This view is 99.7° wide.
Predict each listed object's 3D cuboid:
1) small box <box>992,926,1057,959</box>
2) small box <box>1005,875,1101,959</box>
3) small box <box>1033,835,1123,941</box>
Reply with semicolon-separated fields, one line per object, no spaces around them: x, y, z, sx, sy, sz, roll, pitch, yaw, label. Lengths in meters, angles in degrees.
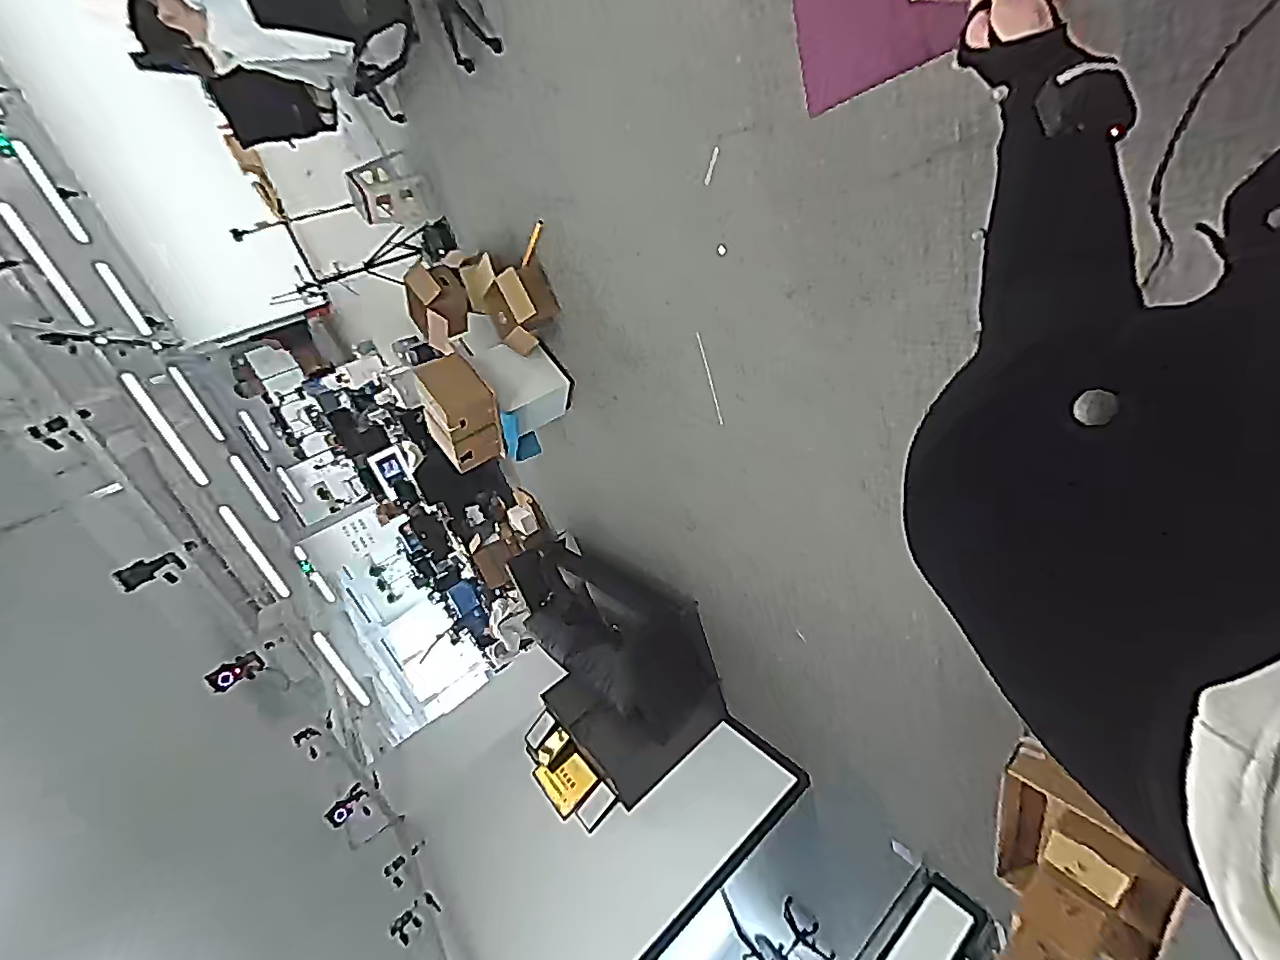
1.028;1.349;1.435;0.168;0.176;0.179;31;140;45;small box
1.152;1.271;1.510;0.168;0.176;0.179;21;133;52;small box
1.278;1.201;1.584;0.168;0.176;0.179;21;133;51;small box
